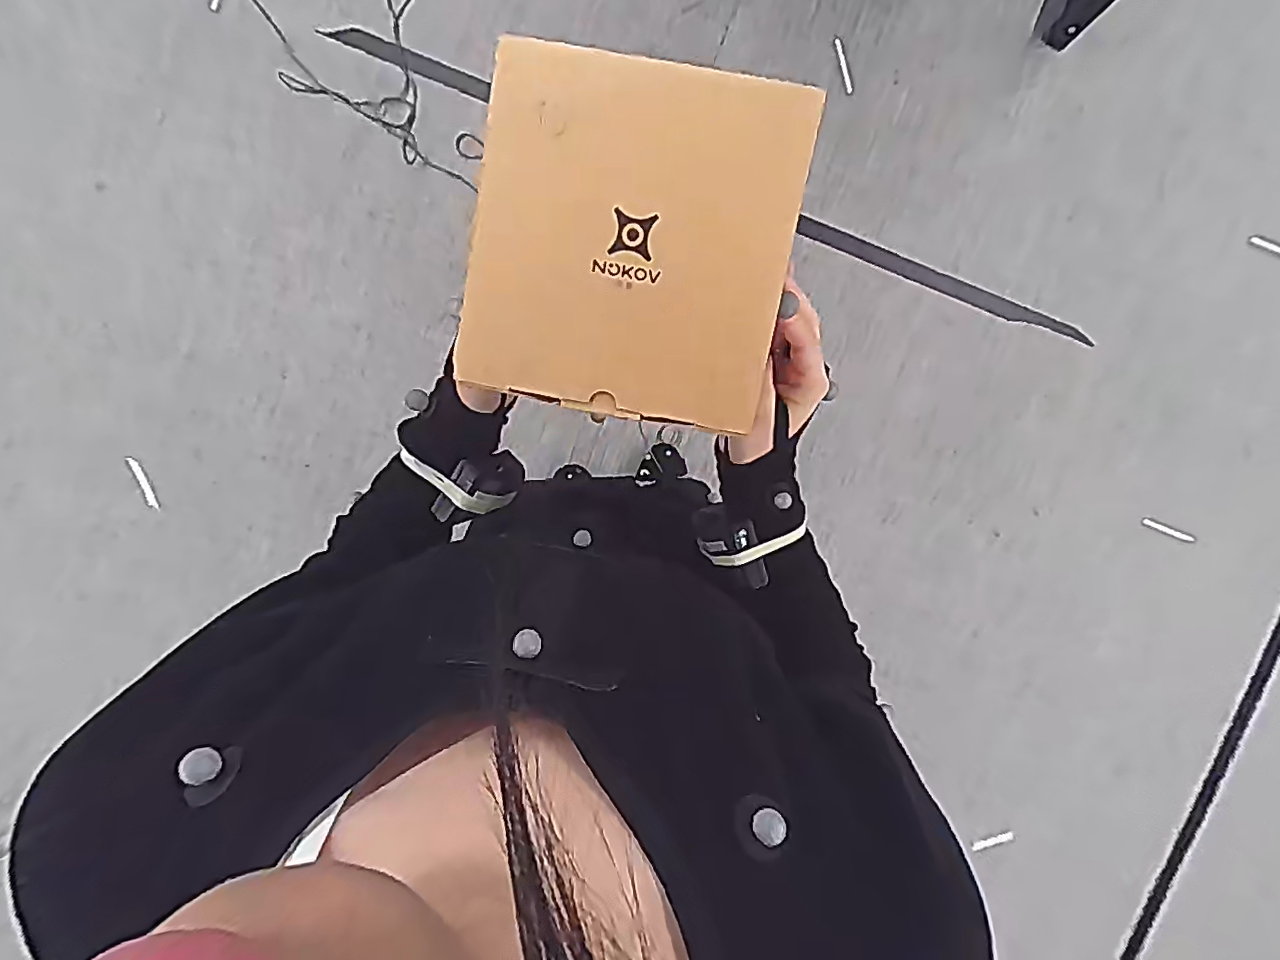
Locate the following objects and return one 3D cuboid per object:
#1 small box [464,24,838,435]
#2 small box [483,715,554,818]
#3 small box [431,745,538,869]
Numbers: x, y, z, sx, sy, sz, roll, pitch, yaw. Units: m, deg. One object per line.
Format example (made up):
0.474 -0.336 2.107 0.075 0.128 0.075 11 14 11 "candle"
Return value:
0.005 -0.134 0.352 0.168 0.176 0.179 11 99 1 "small box"
-0.338 0.756 1.442 0.179 0.176 0.168 15 93 -3 "small box"
-0.358 0.759 1.277 0.179 0.176 0.168 18 94 -2 "small box"
